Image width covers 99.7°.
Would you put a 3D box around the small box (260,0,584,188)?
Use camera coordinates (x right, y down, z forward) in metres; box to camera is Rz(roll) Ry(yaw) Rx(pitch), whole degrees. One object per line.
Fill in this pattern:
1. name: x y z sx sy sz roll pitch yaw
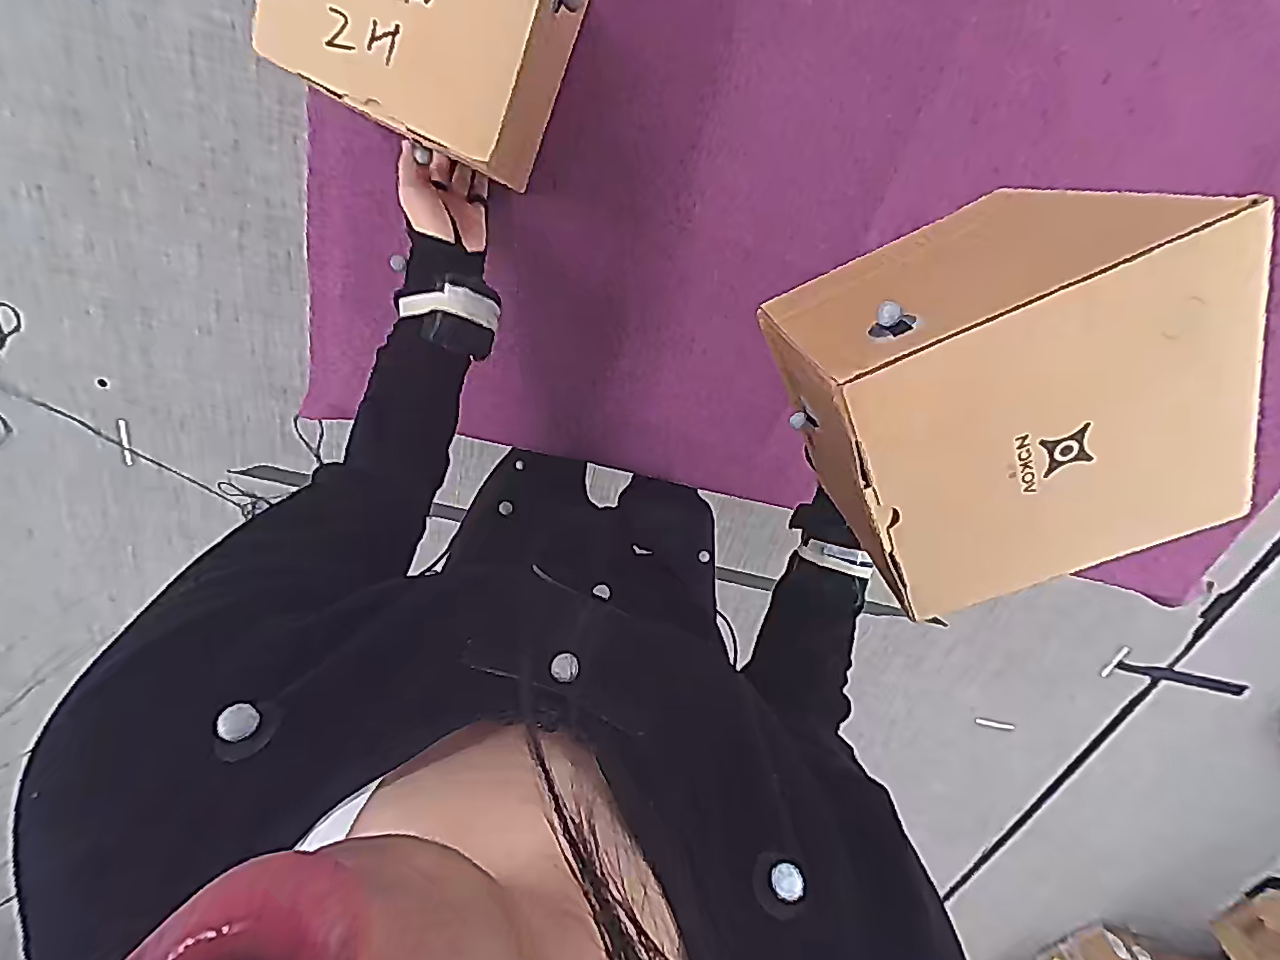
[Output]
1. small box: -0.147 -0.358 0.420 0.168 0.176 0.179 22 109 -11

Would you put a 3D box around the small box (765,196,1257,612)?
1. small box: 0.200 -0.057 0.338 0.179 0.176 0.168 -24 118 12
